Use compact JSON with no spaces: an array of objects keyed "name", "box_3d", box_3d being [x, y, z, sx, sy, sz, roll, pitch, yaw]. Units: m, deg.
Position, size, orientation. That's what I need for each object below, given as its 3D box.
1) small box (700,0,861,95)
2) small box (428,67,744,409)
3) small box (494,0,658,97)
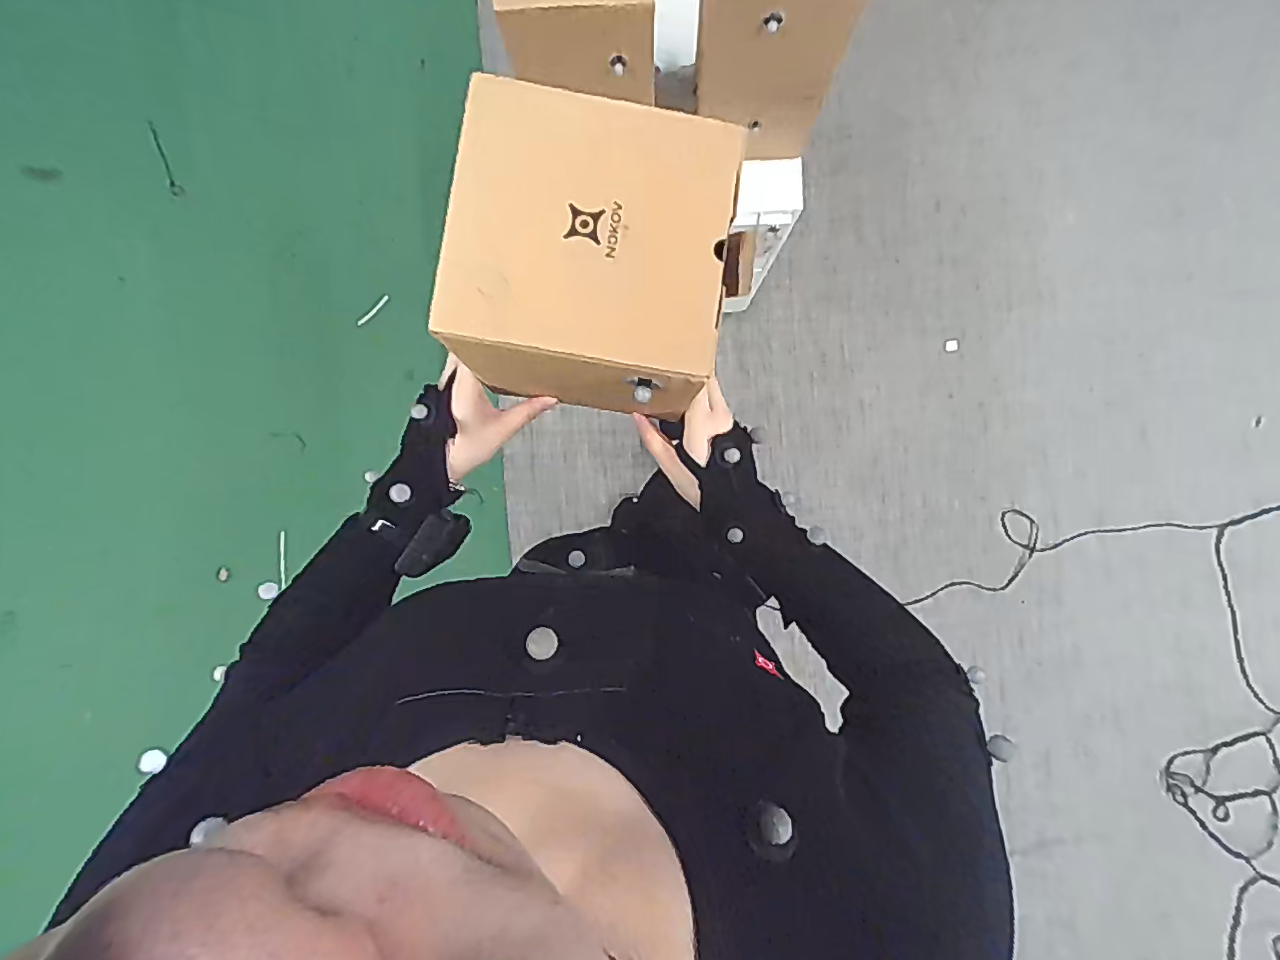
[{"name":"small box","box_3d":[0.164,-0.597,0.647,0.179,0.176,0.168,0,91,2]},{"name":"small box","box_3d":[-0.037,-0.157,0.412,0.179,0.176,0.168,8,87,-5]},{"name":"small box","box_3d":[-0.071,-0.580,0.653,0.179,0.176,0.168,-2,90,1]}]
